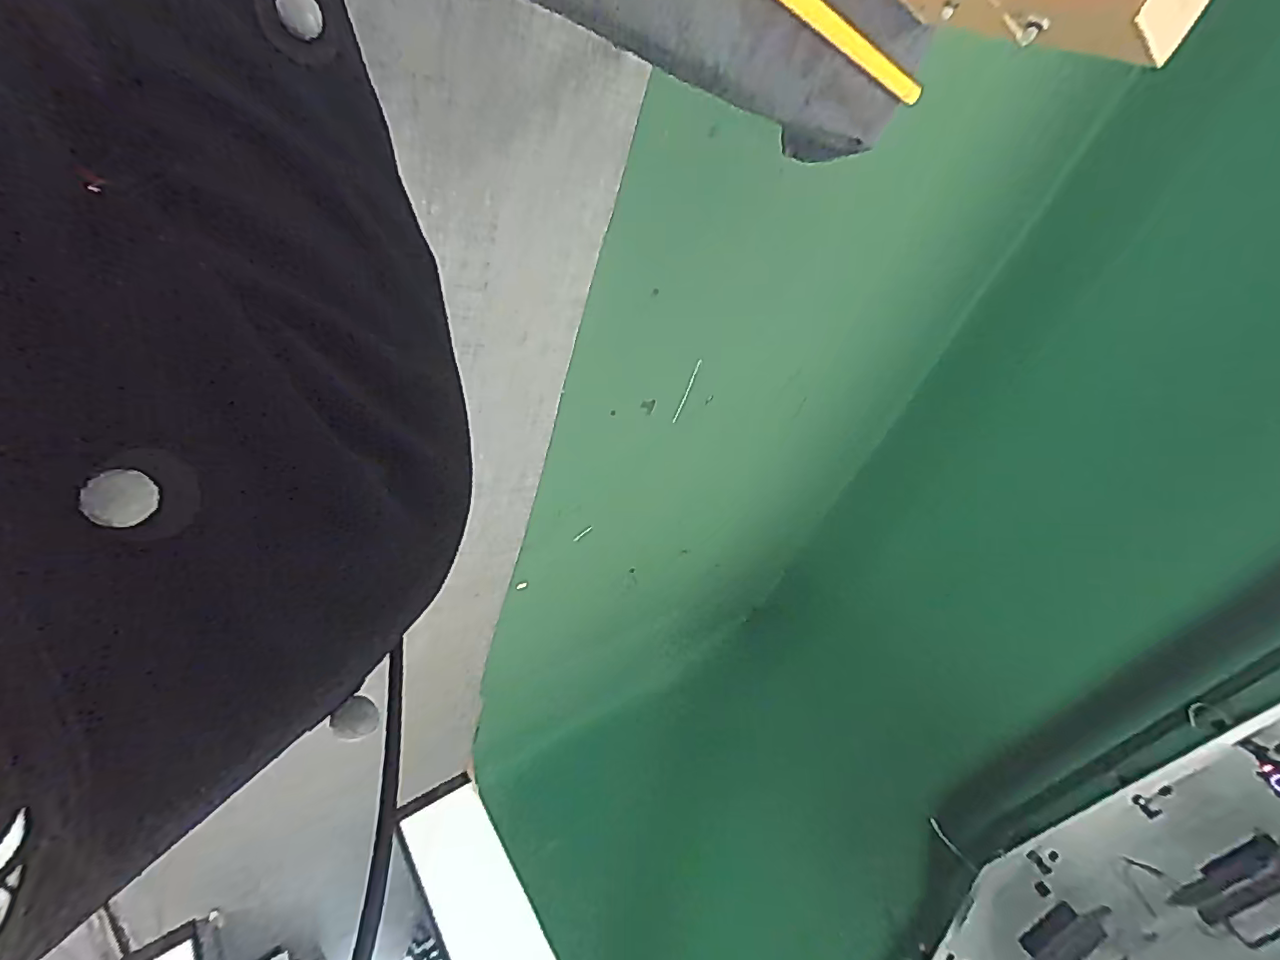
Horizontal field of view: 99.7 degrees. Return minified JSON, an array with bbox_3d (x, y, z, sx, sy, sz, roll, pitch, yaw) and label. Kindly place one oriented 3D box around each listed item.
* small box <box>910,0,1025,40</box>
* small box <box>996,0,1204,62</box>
[{"bbox_3d":[0.447,-0.707,0.684,0.168,0.176,0.179,-11,135,-41],"label":"small box"},{"bbox_3d":[0.547,-0.610,0.600,0.168,0.176,0.179,-12,136,-39],"label":"small box"}]
